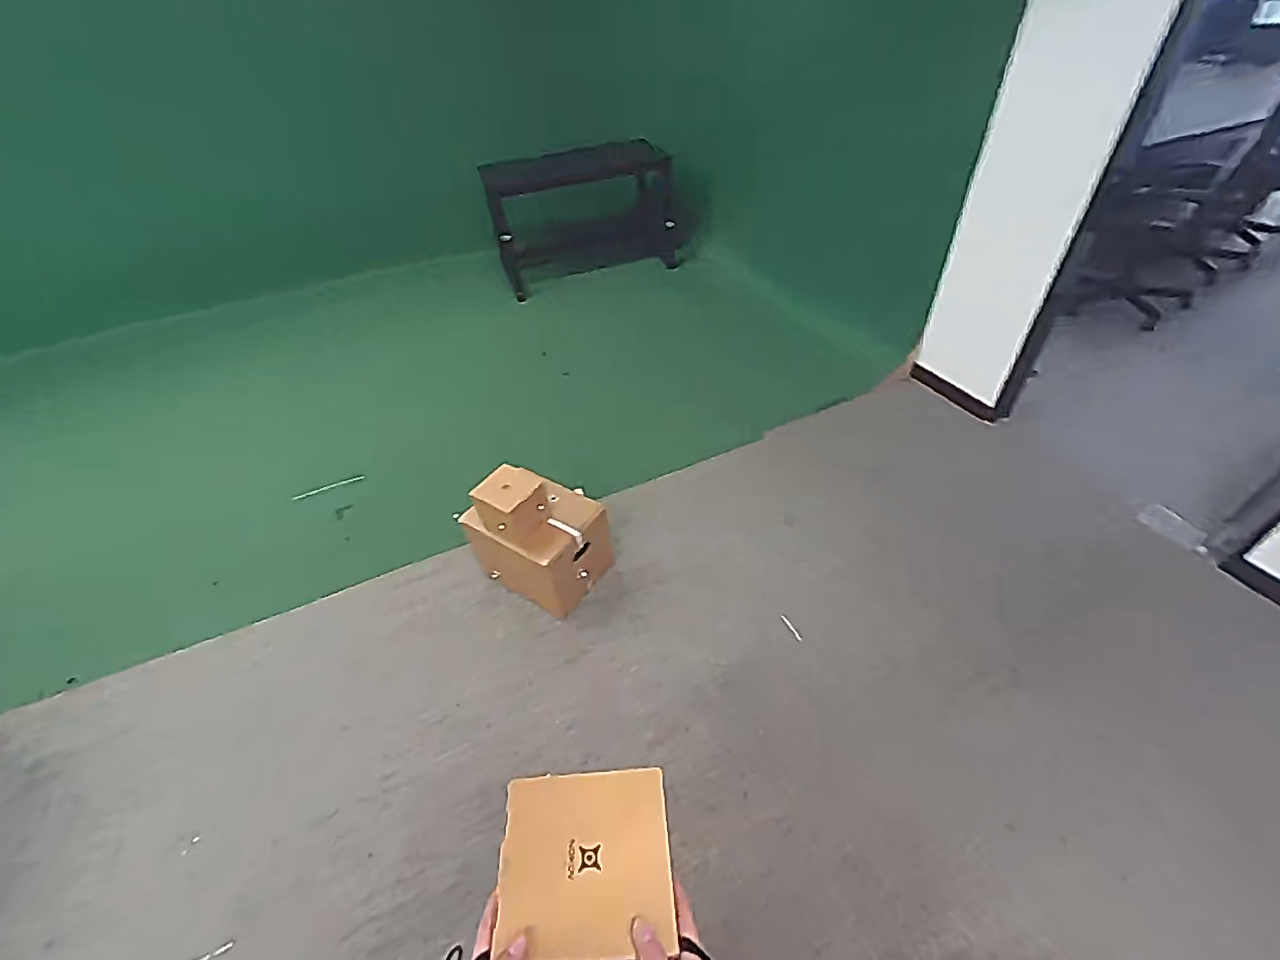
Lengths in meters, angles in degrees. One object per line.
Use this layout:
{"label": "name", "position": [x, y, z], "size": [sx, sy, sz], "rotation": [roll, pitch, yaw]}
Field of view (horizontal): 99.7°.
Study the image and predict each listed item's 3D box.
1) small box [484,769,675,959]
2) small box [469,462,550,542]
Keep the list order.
{"label": "small box", "position": [-0.058, 0.444, 0.596], "size": [0.179, 0.176, 0.168], "rotation": [-6, 40, -2]}
{"label": "small box", "position": [-0.415, 0.075, 1.750], "size": [0.179, 0.176, 0.168], "rotation": [22, 51, 27]}
